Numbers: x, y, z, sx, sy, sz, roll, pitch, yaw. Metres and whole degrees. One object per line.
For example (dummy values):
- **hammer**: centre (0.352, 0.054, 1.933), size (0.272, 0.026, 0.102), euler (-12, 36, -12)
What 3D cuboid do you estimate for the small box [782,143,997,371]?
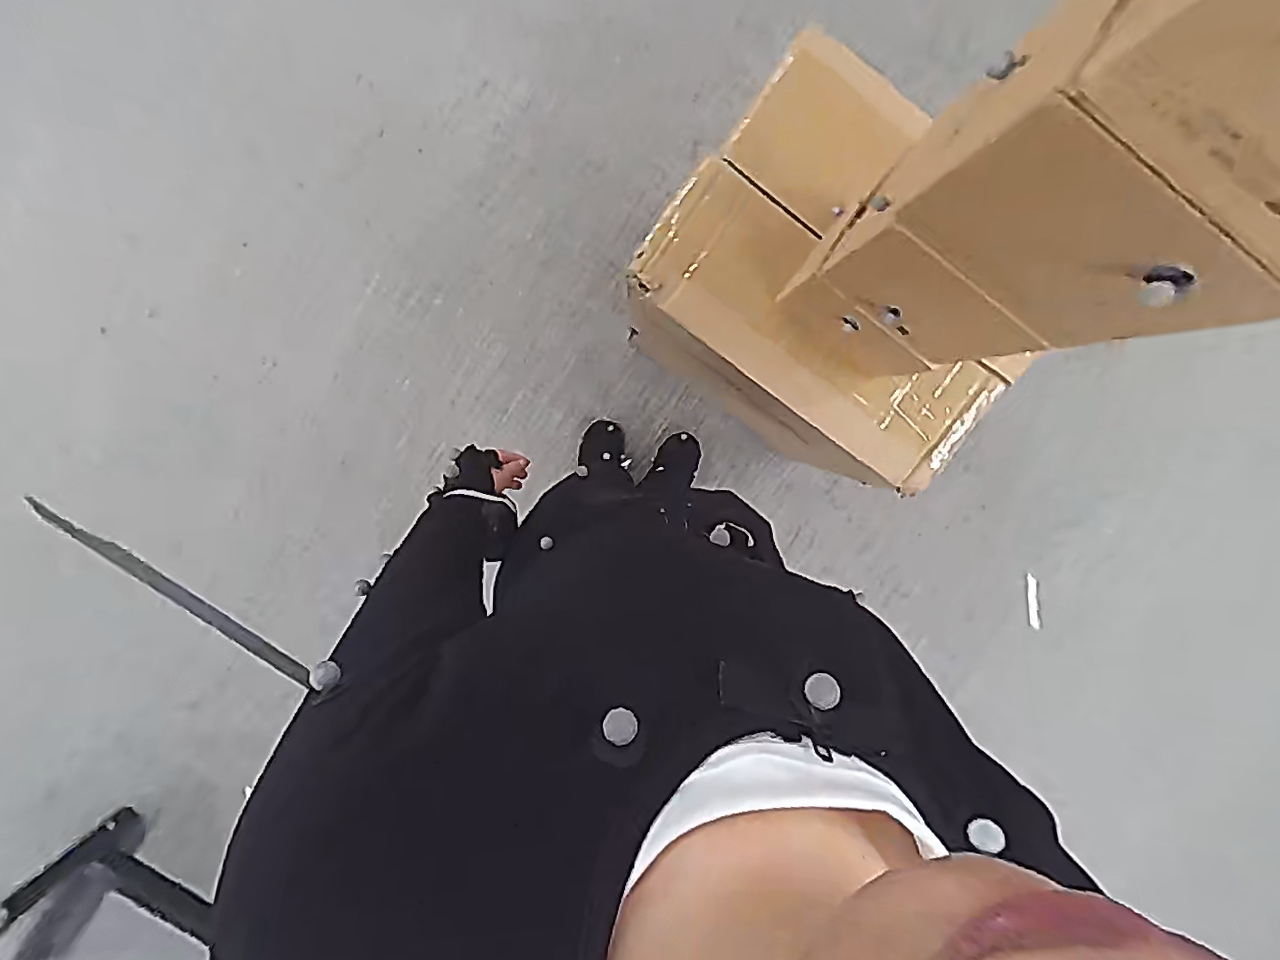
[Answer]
- **small box**: centre (0.301, -0.246, 0.653), size (0.179, 0.176, 0.168), euler (36, 96, -5)

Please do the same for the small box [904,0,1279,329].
- **small box**: centre (0.309, -0.210, 0.326), size (0.179, 0.176, 0.168), euler (36, 96, -5)

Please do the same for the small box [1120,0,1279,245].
- **small box**: centre (0.313, -0.193, 0.165), size (0.168, 0.176, 0.179), euler (36, 95, -5)
